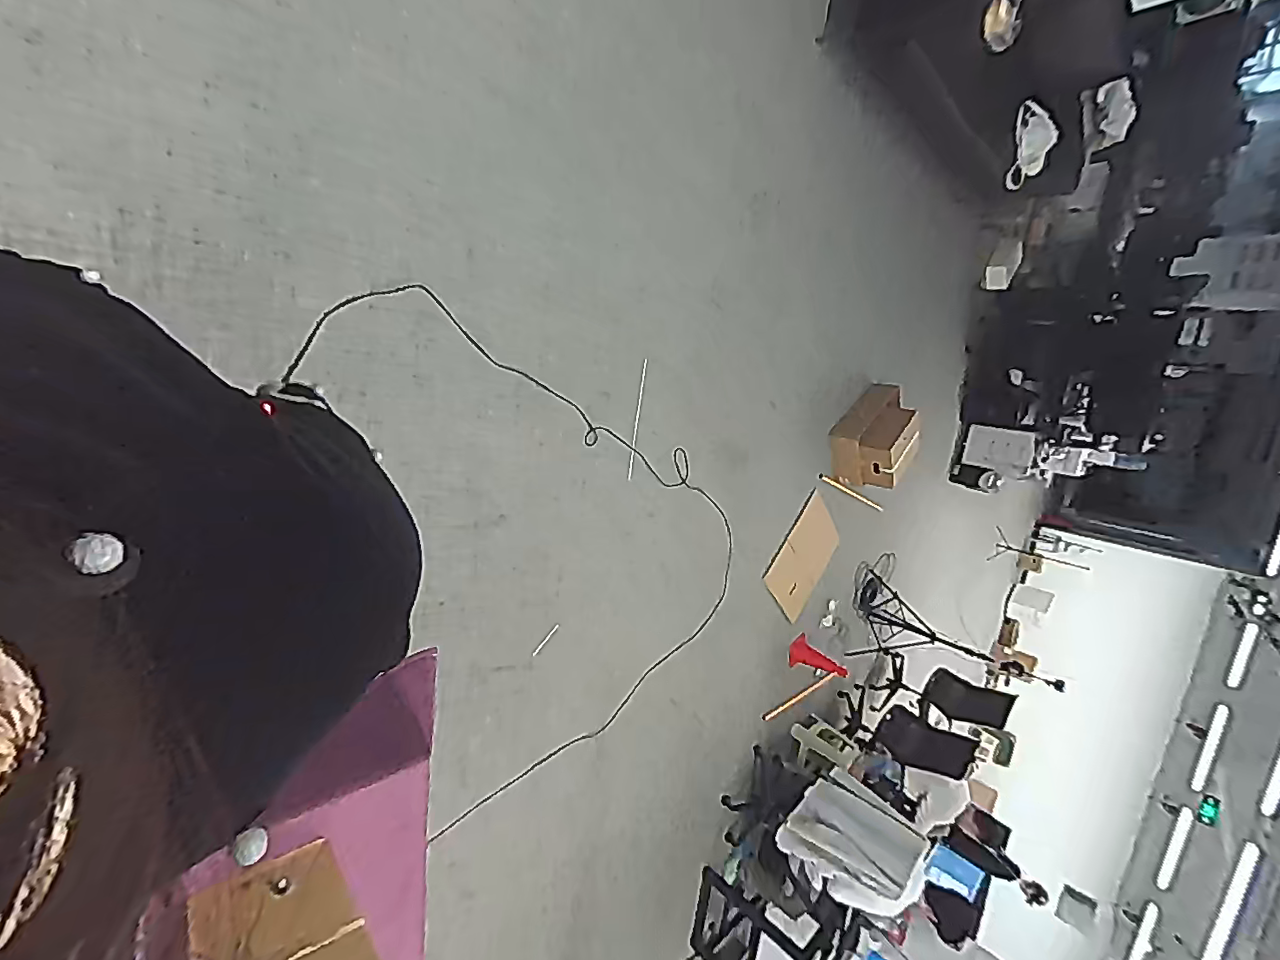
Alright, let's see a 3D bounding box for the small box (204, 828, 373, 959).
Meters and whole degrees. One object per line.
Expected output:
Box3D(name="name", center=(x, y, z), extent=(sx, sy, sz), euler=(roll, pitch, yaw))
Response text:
Box3D(name="small box", center=(-0.490, 0.643, 0.753), extent=(0.168, 0.176, 0.179), euler=(-4, 105, -45))
